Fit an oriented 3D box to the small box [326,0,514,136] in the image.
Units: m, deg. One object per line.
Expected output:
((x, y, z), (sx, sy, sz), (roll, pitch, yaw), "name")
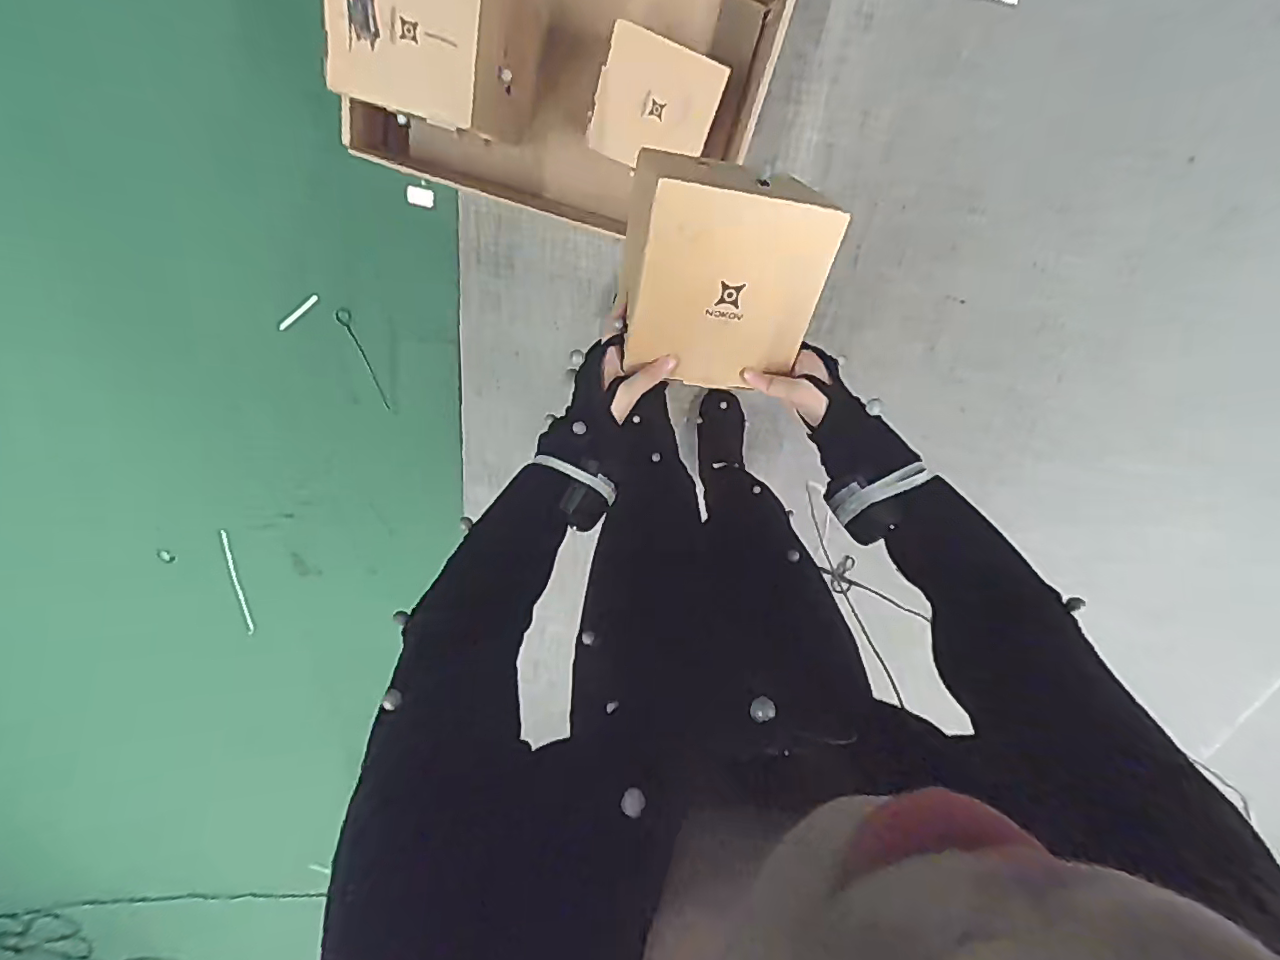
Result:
((-0.273, -0.558, 0.693), (0.179, 0.176, 0.168), (12, 119, -7), "small box")

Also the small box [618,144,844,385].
((0.071, -0.221, 0.551), (0.168, 0.176, 0.179), (5, 130, -10), "small box")
